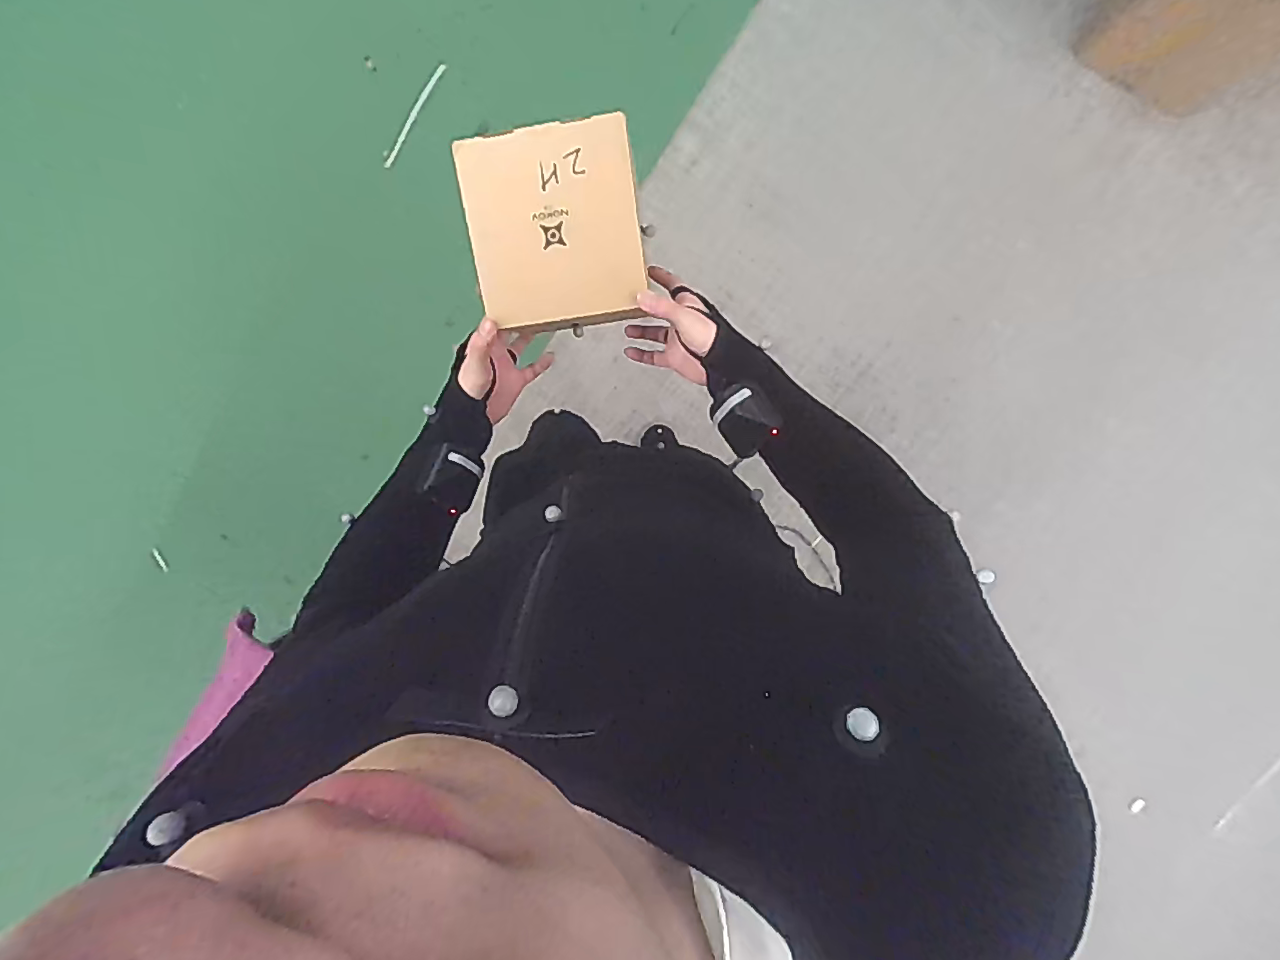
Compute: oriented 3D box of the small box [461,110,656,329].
[{"bbox_3d":[-0.071,-0.259,0.584,0.168,0.176,0.179,-6,103,3],"label":"small box"}]
